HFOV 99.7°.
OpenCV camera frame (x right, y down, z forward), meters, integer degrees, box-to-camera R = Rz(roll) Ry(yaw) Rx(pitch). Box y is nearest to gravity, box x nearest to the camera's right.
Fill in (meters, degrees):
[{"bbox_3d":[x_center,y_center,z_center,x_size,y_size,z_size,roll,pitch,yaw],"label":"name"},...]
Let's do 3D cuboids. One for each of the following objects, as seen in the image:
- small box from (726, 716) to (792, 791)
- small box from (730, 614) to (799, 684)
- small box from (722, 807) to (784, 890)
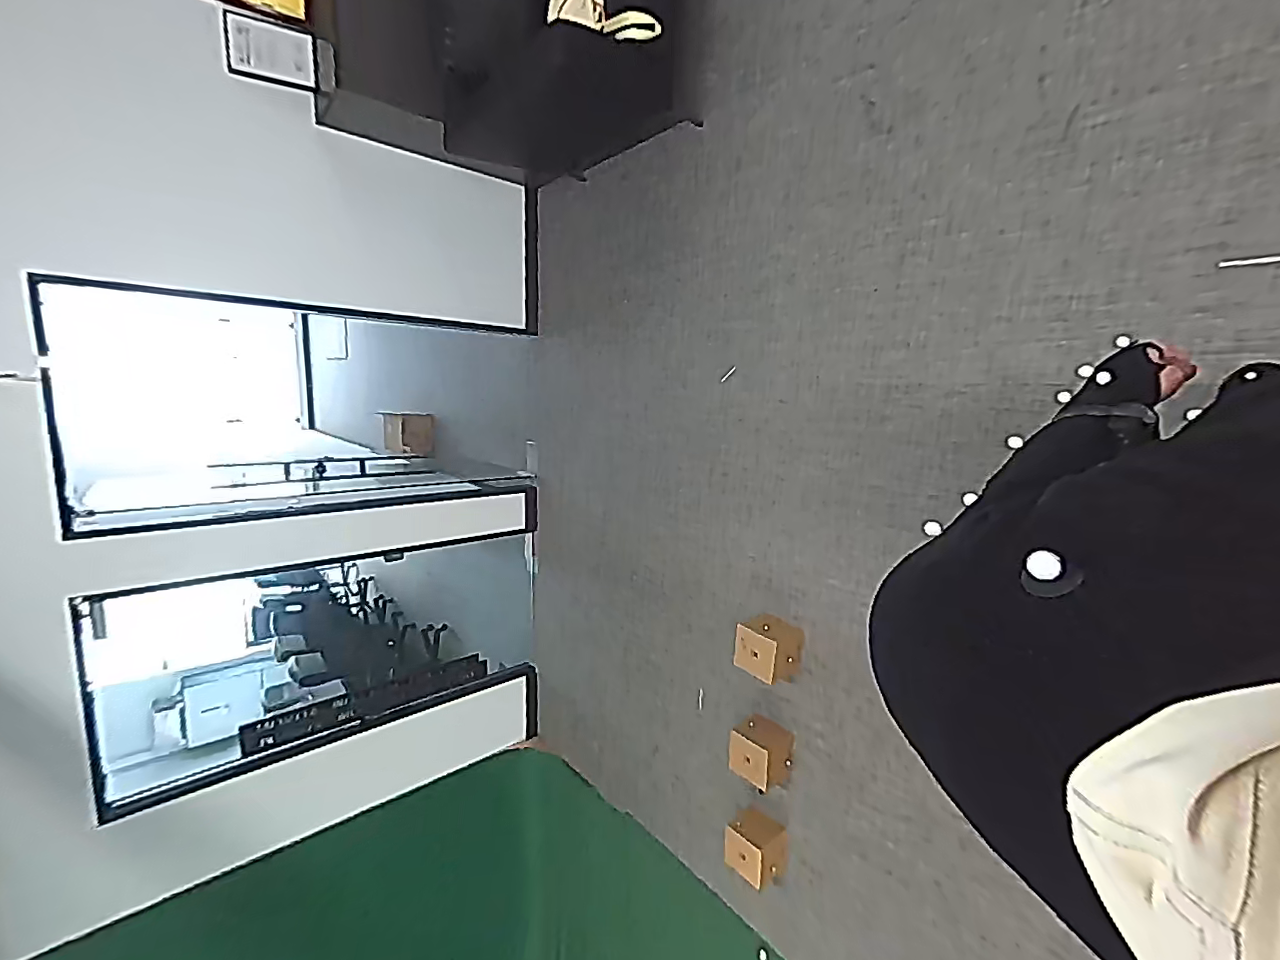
[{"bbox_3d":[0.446,1.020,2.039,0.179,0.176,0.168,11,103,48],"label":"small box"},{"bbox_3d":[0.457,0.607,1.975,0.179,0.176,0.168,17,107,47],"label":"small box"},{"bbox_3d":[0.440,1.416,2.095,0.179,0.176,0.168,11,103,49],"label":"small box"}]
